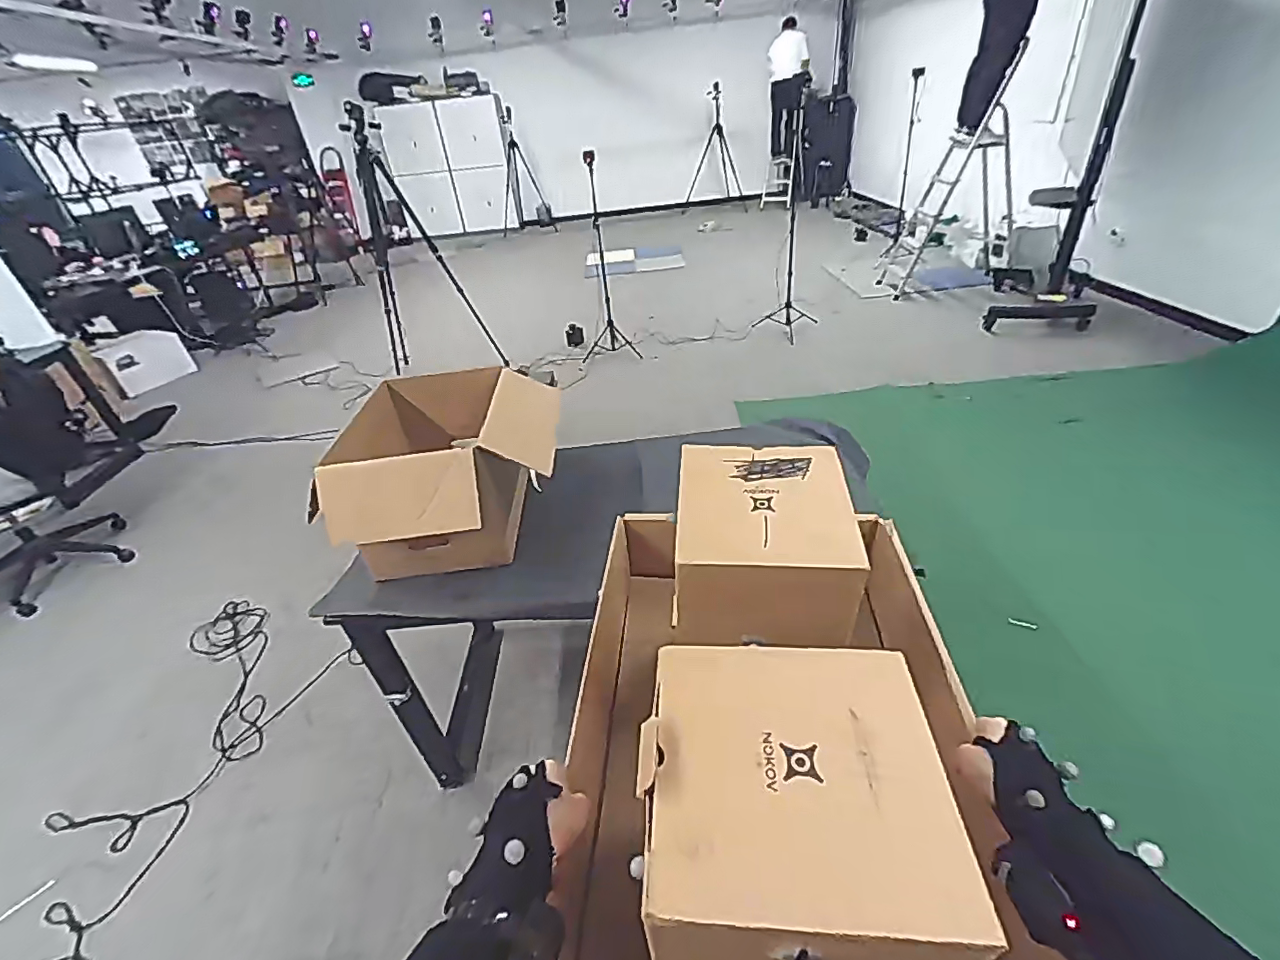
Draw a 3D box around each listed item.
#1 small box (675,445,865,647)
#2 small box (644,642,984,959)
[{"bbox_3d":[0.125,0.081,0.584,0.168,0.176,0.179,1,41,7],"label":"small box"},{"bbox_3d":[0.099,0.238,0.389,0.179,0.176,0.168,0,38,5],"label":"small box"}]
